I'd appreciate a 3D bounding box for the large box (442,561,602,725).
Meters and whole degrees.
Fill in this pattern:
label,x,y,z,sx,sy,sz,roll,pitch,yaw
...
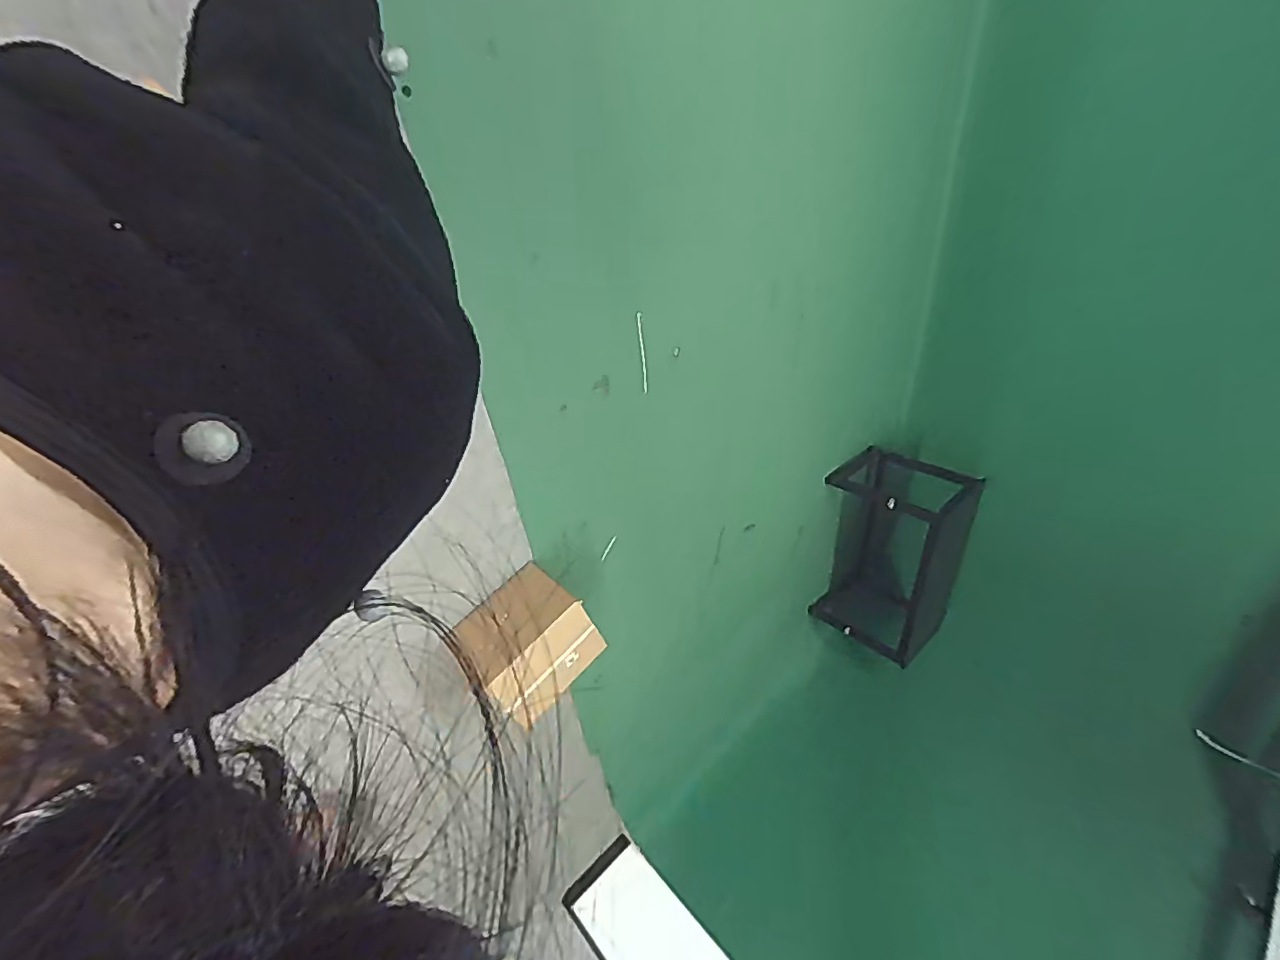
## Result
label,x,y,z,sx,sy,sz,roll,pitch,yaw
large box,-0.419,0.575,1.953,0.408,0.320,0.320,-43,136,-23
